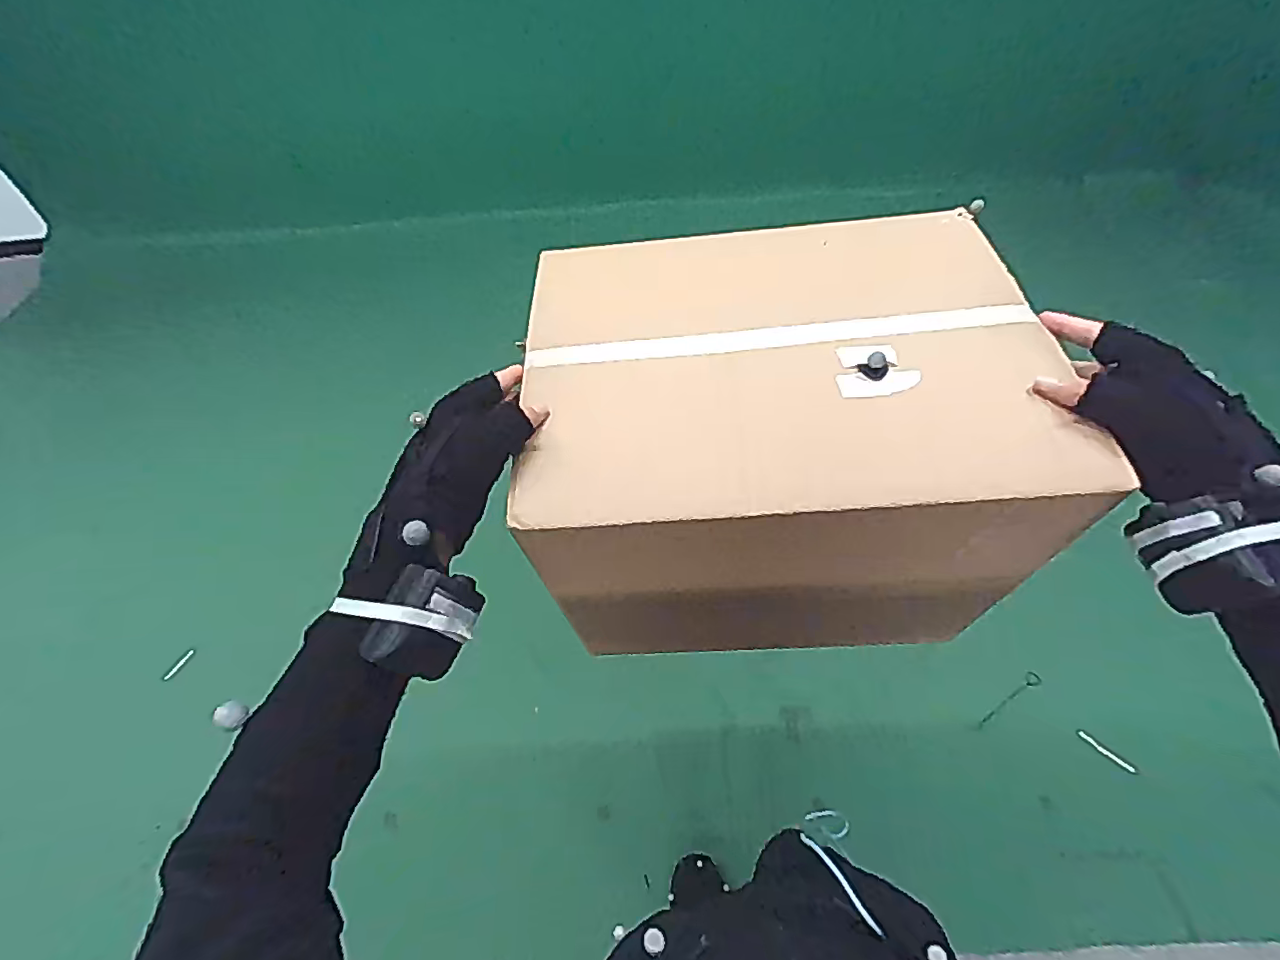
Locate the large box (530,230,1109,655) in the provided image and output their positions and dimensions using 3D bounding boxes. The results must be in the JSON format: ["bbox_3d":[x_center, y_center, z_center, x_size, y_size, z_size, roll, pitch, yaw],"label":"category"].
[{"bbox_3d":[0.124,-0.021,0.574,0.408,0.320,0.320,-4,57,3],"label":"large box"}]
